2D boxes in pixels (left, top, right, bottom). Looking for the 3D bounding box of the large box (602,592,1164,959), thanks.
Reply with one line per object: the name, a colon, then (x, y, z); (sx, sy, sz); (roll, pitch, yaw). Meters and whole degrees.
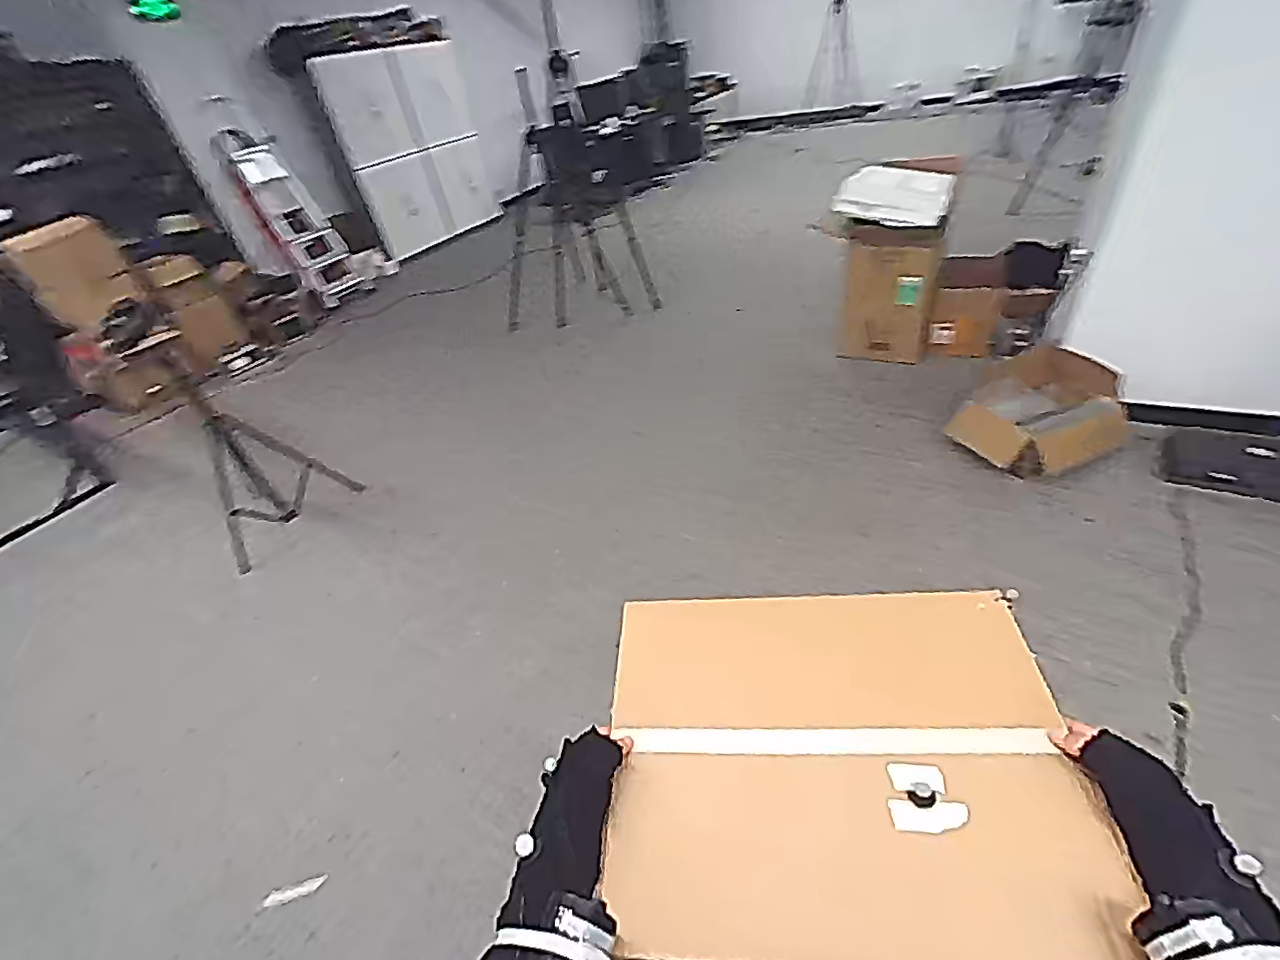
large box: (0.190, 0.349, 0.599); (0.408, 0.320, 0.320); (-4, 44, 8)
